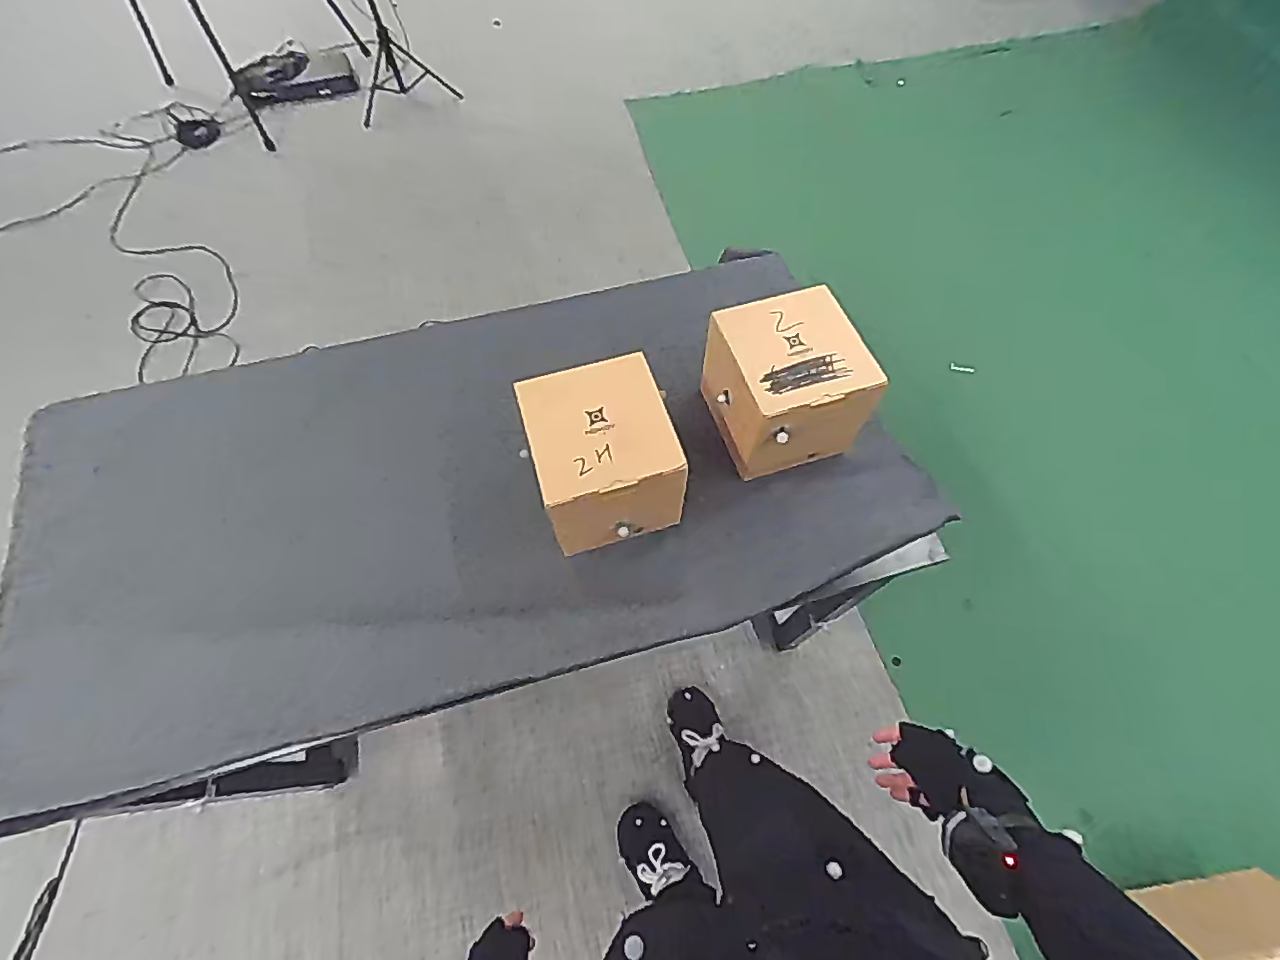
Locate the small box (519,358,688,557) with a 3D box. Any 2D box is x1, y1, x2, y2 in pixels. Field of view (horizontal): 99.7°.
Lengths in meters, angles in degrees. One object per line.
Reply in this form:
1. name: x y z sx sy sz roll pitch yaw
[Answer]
1. small box: -0.047 -0.024 0.699 0.168 0.176 0.179 -16 64 -7
